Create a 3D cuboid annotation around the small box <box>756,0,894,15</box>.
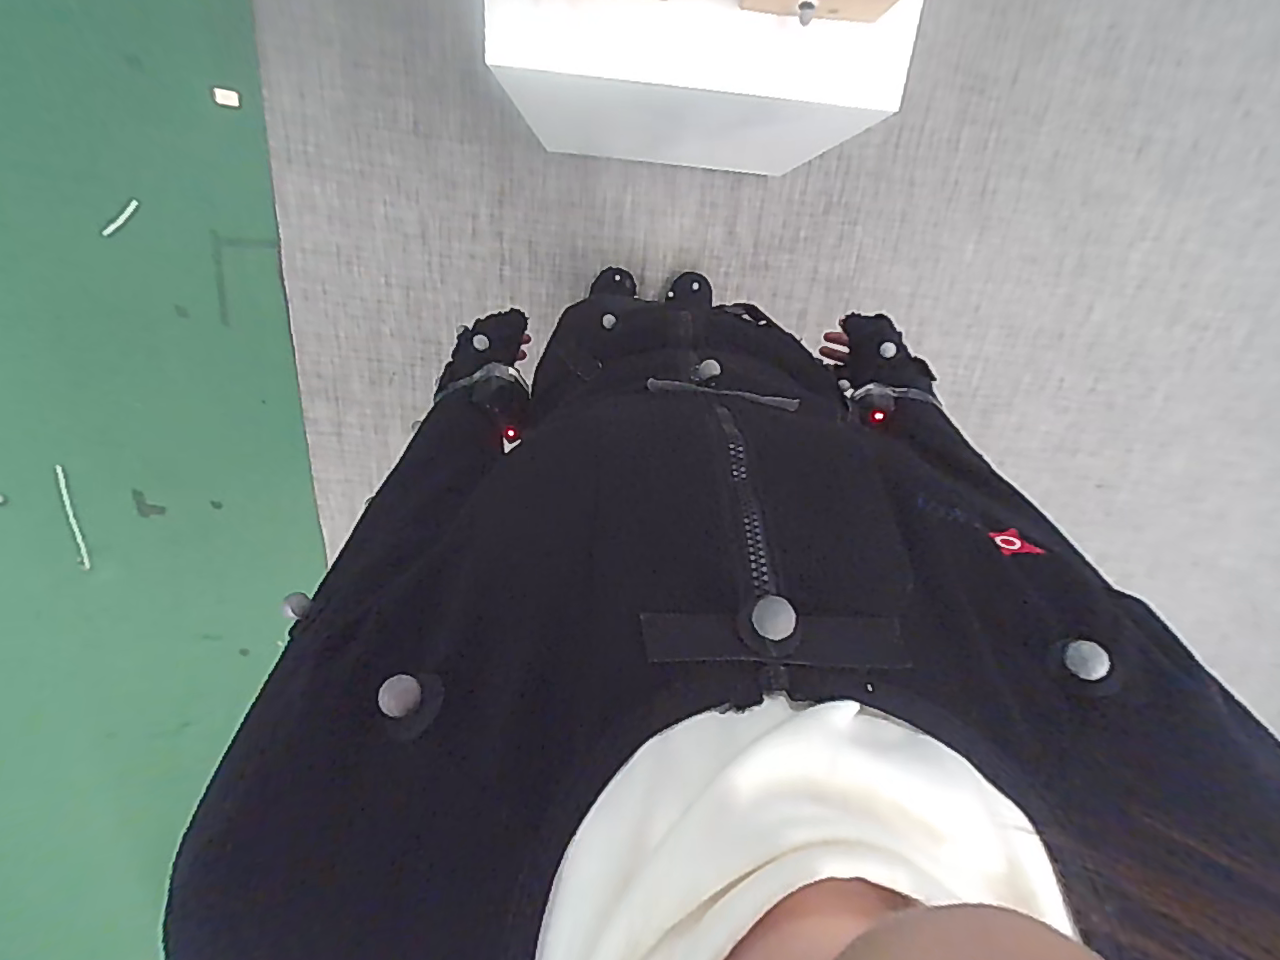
[{"bbox_3d":[0.203,-0.585,0.510,0.168,0.176,0.179,2,114,0],"label":"small box"}]
